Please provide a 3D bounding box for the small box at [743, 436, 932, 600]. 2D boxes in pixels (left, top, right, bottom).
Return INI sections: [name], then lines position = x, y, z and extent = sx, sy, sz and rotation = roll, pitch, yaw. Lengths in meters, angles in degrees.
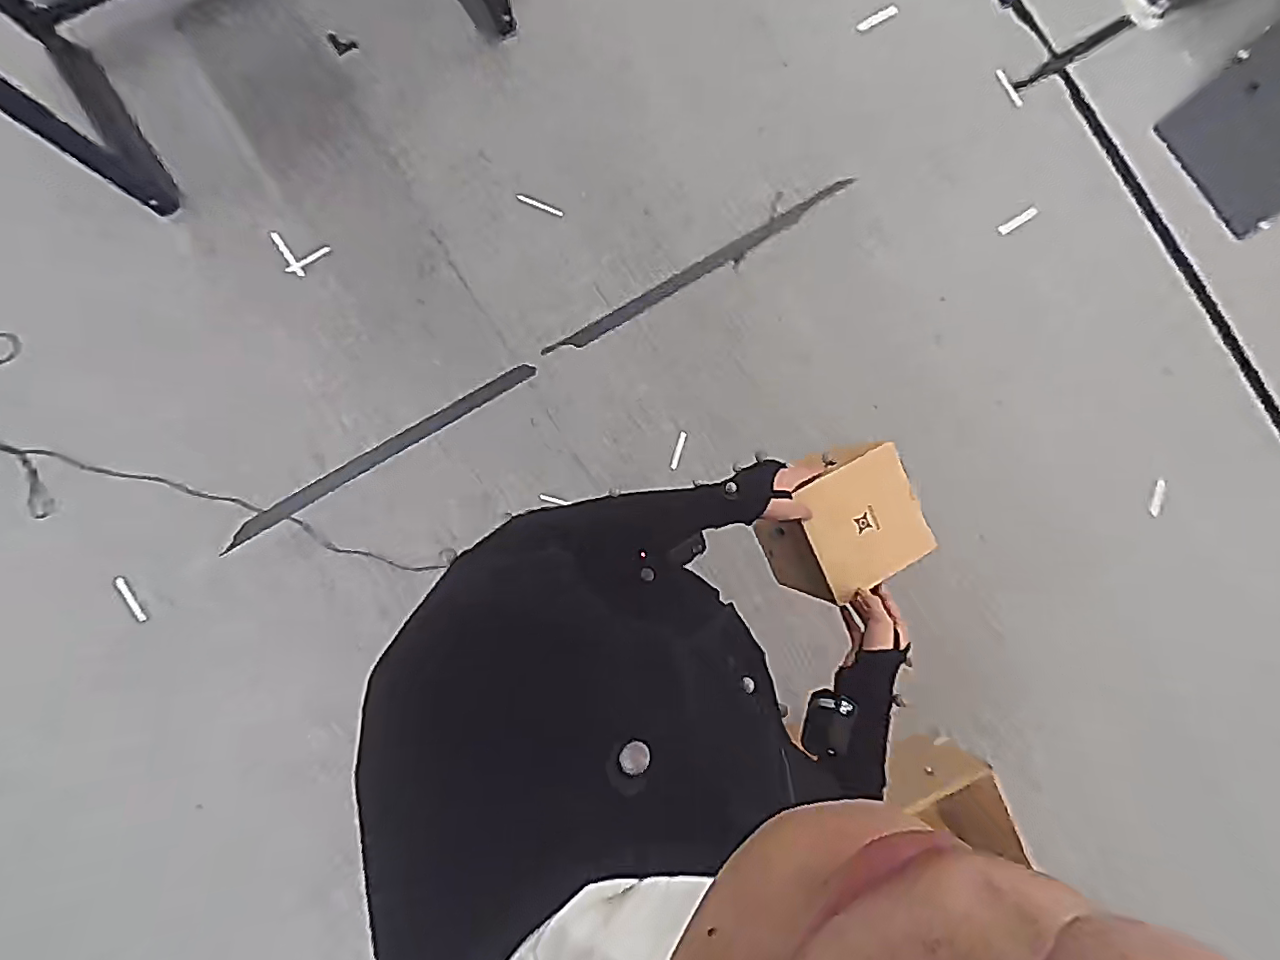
[small box]
position = 0.273, 0.052, 0.792
extent = 0.179, 0.176, 0.168
rotation = -28, 96, -13
